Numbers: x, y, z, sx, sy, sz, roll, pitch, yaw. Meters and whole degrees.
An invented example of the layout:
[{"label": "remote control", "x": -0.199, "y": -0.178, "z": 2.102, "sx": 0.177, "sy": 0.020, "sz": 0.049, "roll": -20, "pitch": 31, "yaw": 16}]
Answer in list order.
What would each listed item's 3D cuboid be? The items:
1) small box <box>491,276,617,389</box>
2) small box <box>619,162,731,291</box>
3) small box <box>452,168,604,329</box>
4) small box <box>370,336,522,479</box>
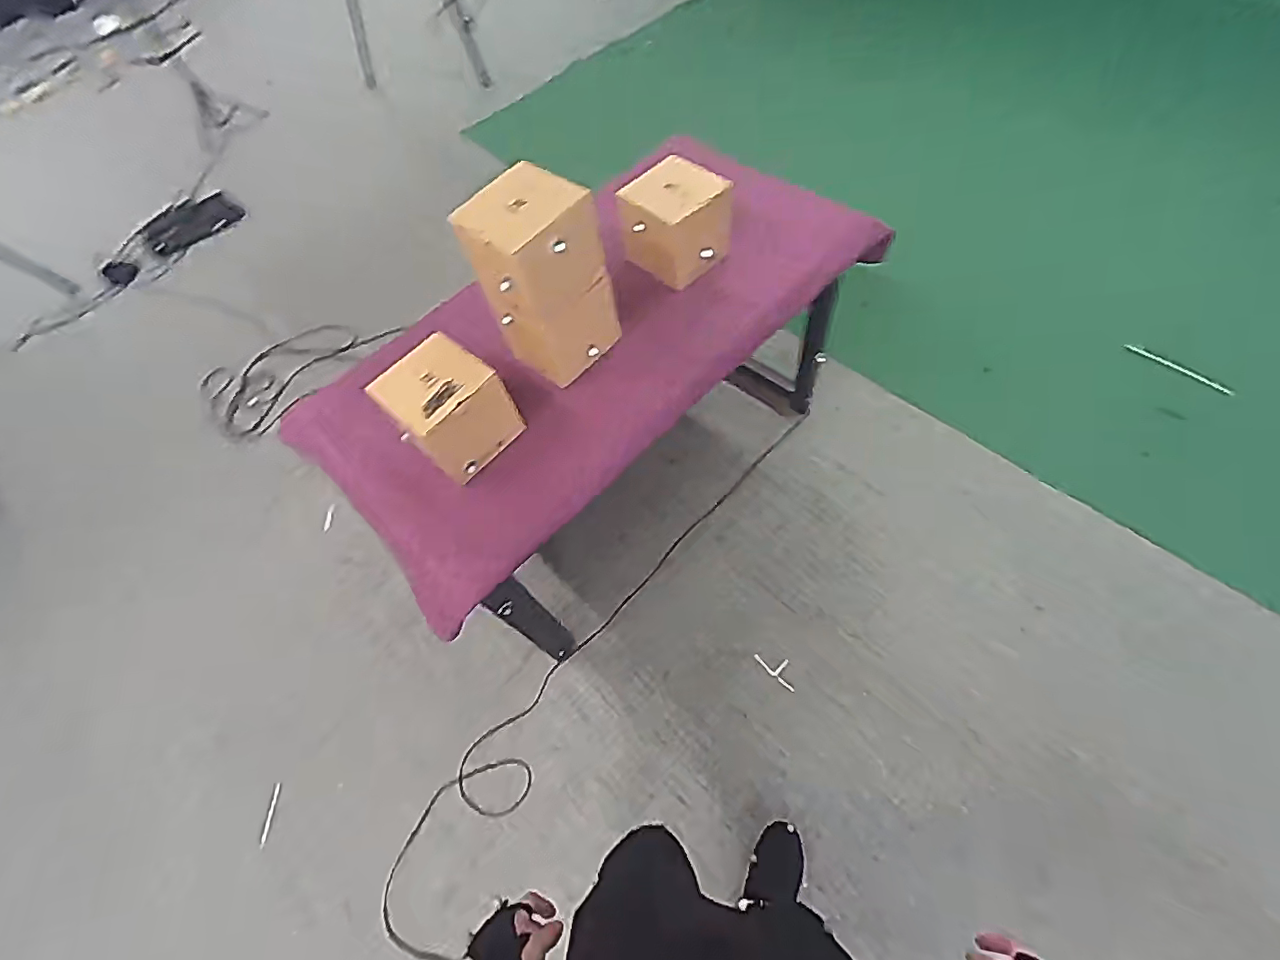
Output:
[{"label": "small box", "x": -0.162, "y": -0.321, "z": 1.090, "sx": 0.168, "sy": 0.176, "sz": 0.179, "roll": 36, "pitch": 71, "yaw": 25}, {"label": "small box", "x": 0.080, "y": -0.550, "z": 1.183, "sx": 0.168, "sy": 0.176, "sz": 0.179, "roll": -41, "pitch": 63, "yaw": -14}, {"label": "small box", "x": -0.184, "y": -0.399, "z": 0.948, "sx": 0.168, "sy": 0.176, "sz": 0.179, "roll": 36, "pitch": 72, "yaw": 23}, {"label": "small box", "x": -0.348, "y": -0.126, "z": 1.006, "sx": 0.179, "sy": 0.176, "sz": 0.168, "roll": 36, "pitch": 71, "yaw": 25}]
